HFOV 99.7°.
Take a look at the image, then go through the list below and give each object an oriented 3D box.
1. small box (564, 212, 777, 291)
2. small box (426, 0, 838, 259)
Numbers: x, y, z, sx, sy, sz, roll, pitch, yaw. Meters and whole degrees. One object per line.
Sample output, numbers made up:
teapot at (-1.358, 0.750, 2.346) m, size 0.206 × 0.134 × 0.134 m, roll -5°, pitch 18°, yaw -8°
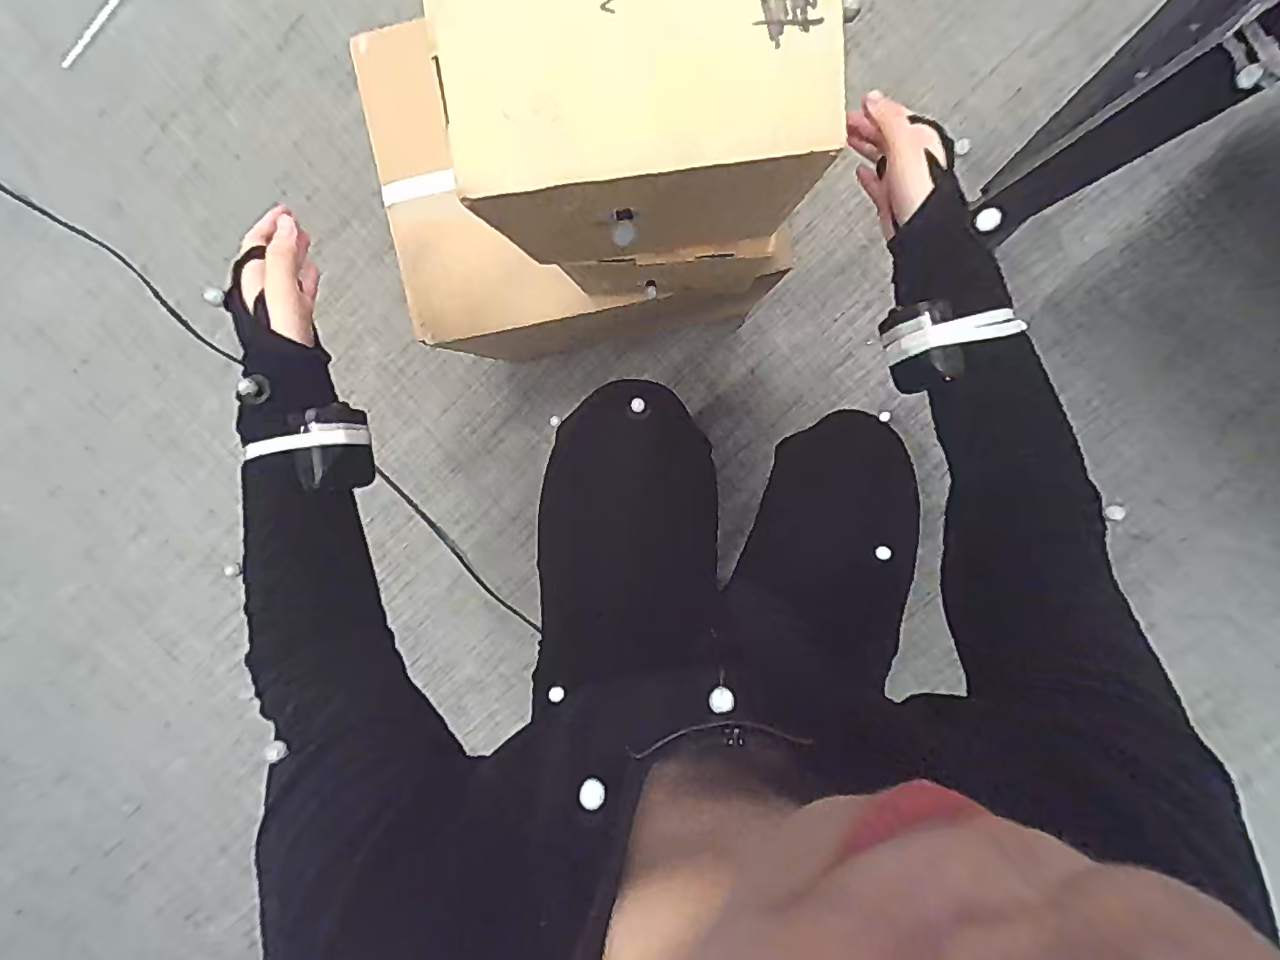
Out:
small box at (0.021, -0.266, 0.464) m, size 0.168 × 0.176 × 0.179 m, roll -1°, pitch 103°, yaw 3°
small box at (-0.001, -0.231, 0.304) m, size 0.179 × 0.176 × 0.168 m, roll -5°, pitch 103°, yaw 5°
